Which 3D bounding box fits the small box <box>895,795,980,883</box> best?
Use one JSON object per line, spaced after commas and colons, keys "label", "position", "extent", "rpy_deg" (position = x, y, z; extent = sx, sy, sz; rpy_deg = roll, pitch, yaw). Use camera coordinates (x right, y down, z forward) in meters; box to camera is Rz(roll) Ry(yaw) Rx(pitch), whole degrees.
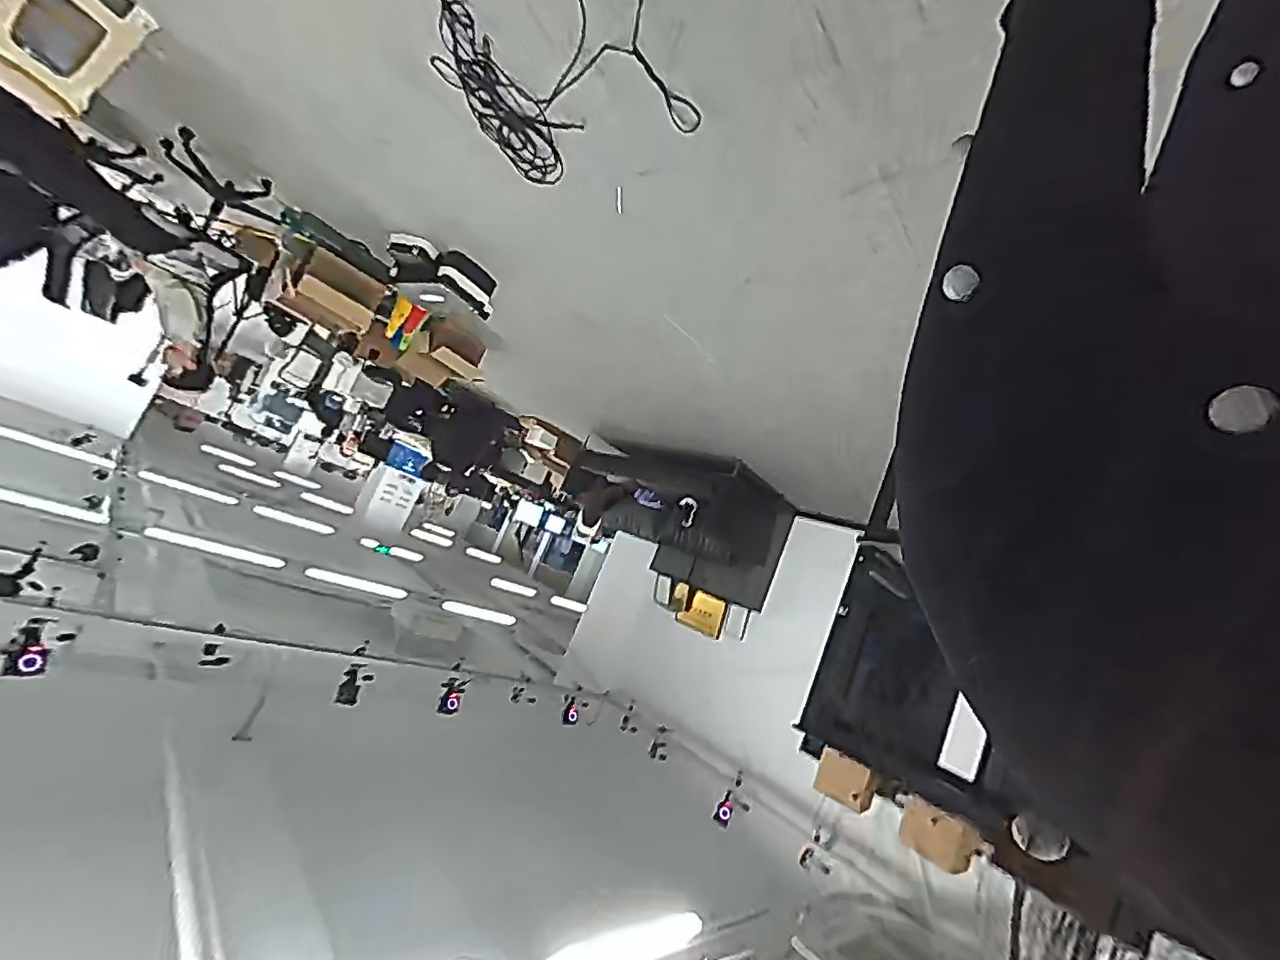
{"label": "small box", "position": [0.937, 1.117, 1.696], "extent": [0.179, 0.176, 0.168], "rpy_deg": [31, 168, -38]}
